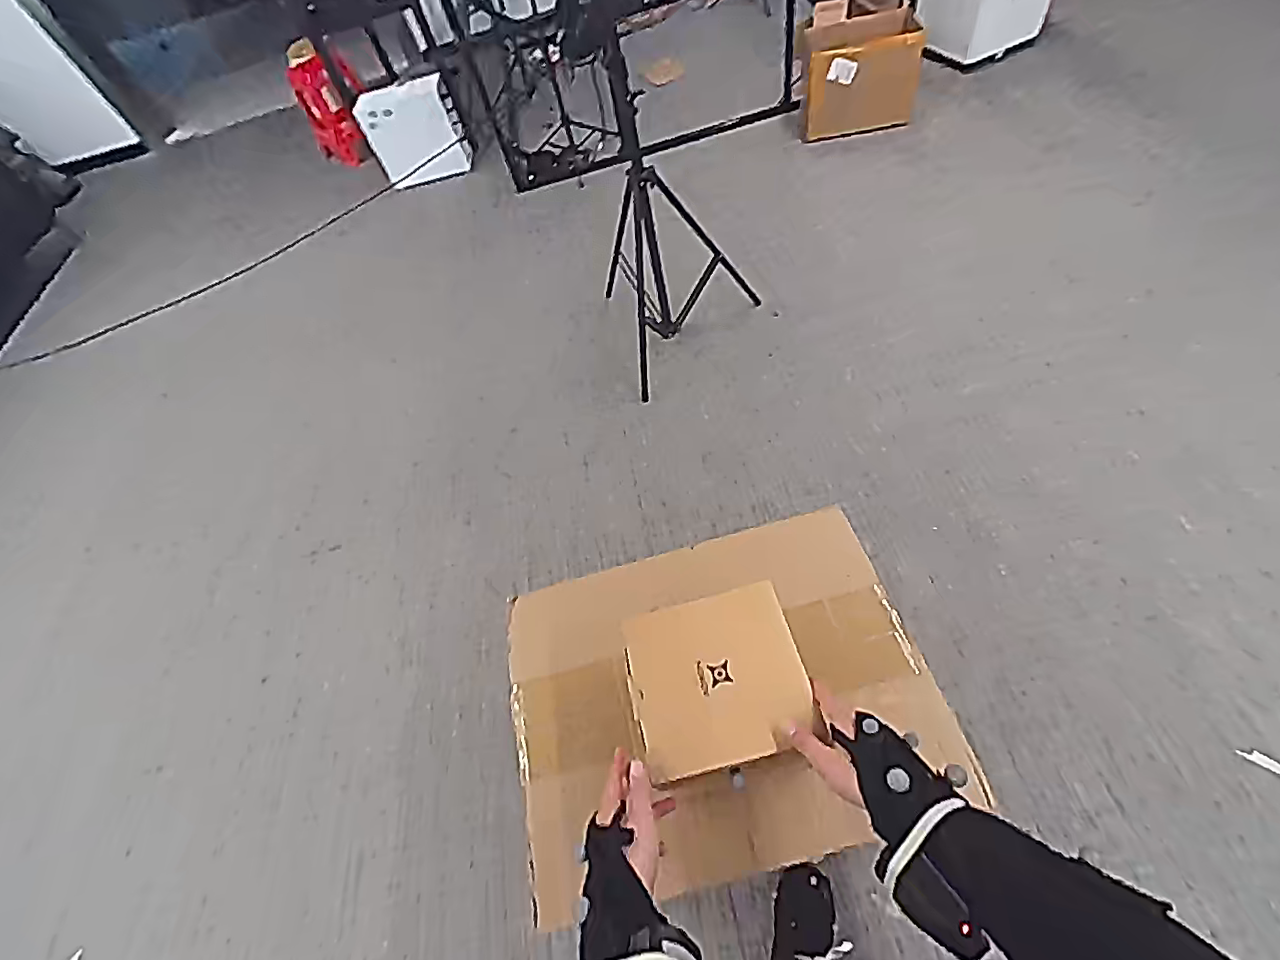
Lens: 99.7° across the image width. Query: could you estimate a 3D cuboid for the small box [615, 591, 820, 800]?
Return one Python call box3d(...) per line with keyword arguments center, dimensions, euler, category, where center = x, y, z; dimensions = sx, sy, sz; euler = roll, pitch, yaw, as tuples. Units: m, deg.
box3d(center=(0.083, 0.247, 0.608), dimensions=(0.179, 0.176, 0.168), euler=(-15, 54, 4), category="small box")
